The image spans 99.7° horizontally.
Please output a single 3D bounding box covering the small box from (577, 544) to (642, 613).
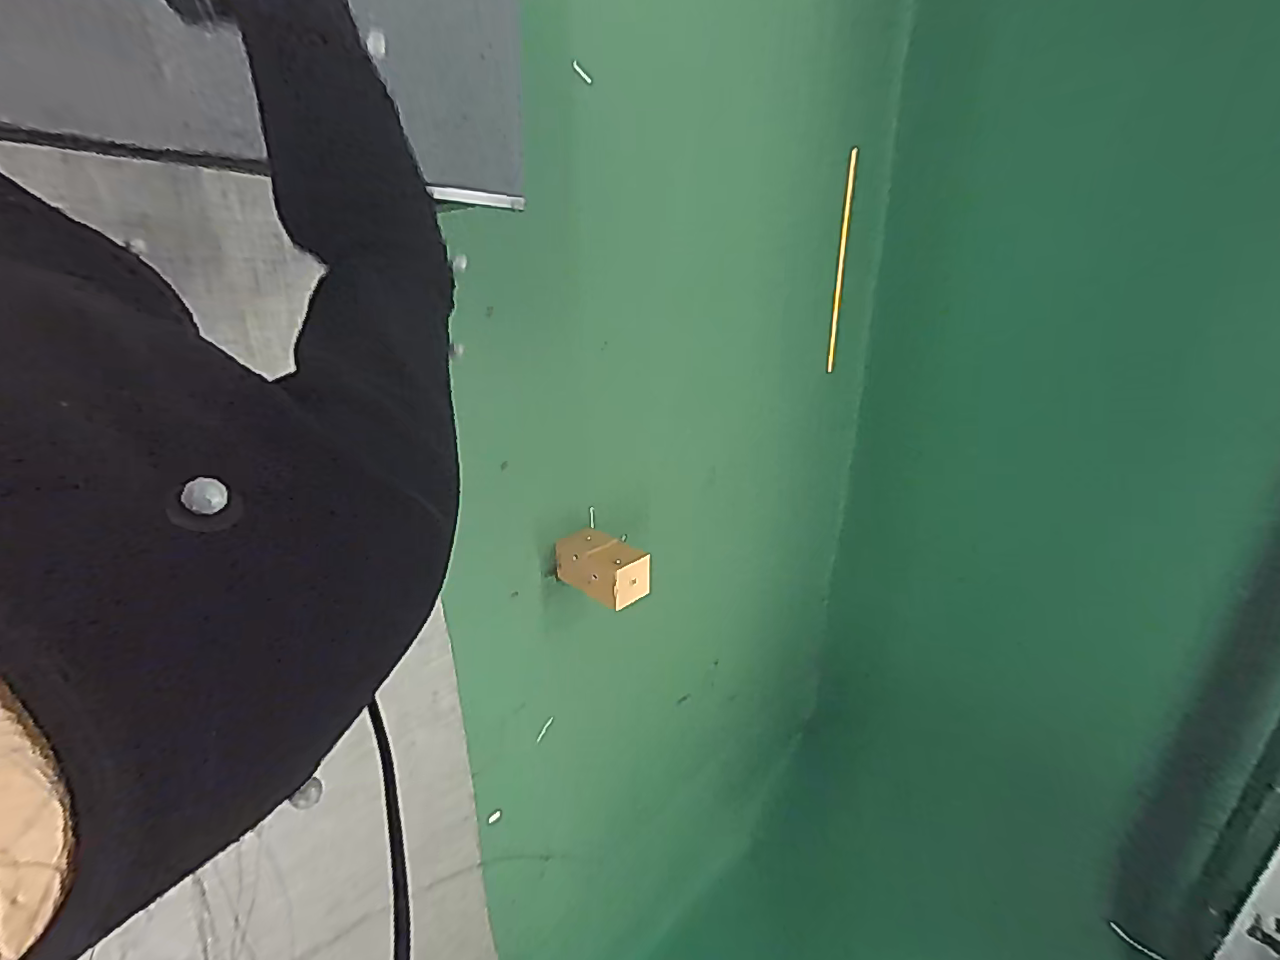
[{"bbox_3d":[-0.112,0.351,1.978,0.179,0.176,0.168,-20,118,-44],"label":"small box"}]
